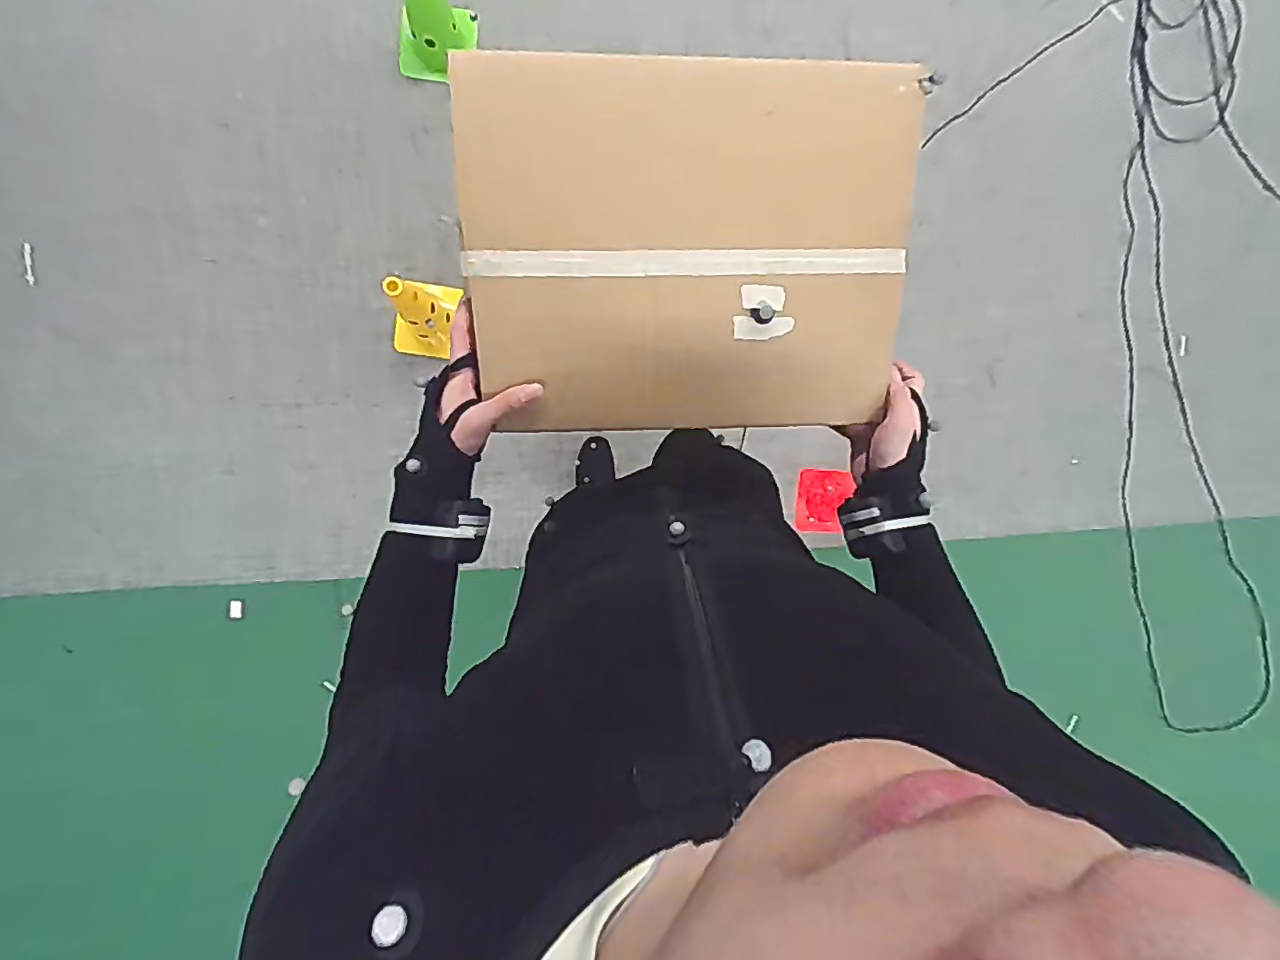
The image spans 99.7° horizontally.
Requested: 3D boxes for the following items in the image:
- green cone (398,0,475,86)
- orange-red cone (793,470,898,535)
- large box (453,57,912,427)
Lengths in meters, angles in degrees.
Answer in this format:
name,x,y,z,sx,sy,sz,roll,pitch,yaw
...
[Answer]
name,x,y,z,sx,sy,sz,roll,pitch,yaw
green cone,-0.538,-1.181,1.314,0.200,0.368,0.202,3,94,-7
orange-red cone,0.610,0.085,1.532,0.199,0.360,0.198,5,94,-9
large box,0.031,-0.253,0.644,0.408,0.320,0.320,-2,109,-5
